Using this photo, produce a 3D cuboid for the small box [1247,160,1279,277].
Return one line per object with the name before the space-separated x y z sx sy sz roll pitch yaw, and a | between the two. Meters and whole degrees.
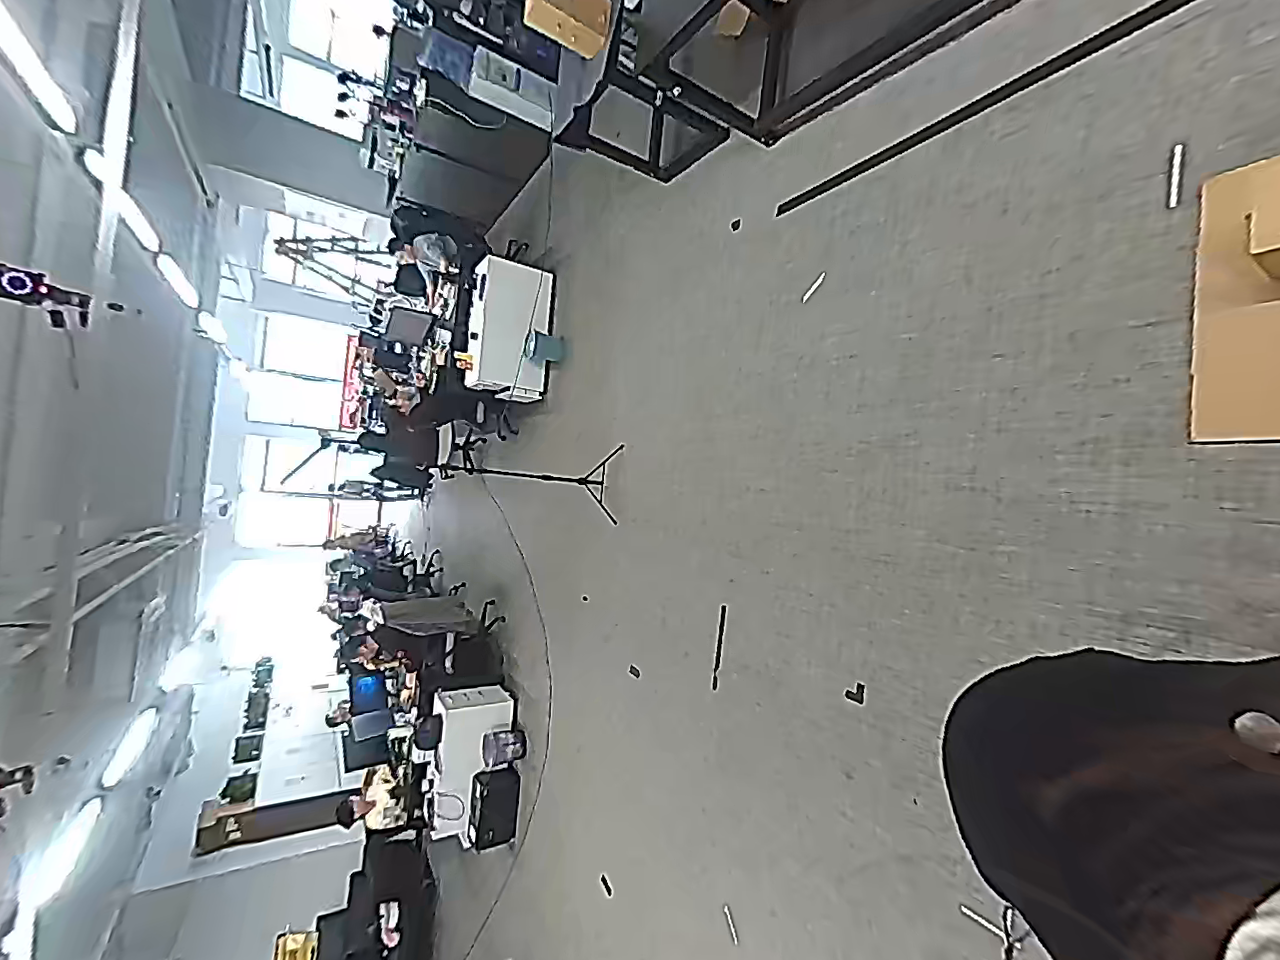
small box | 1.302 -0.515 1.029 0.168 0.176 0.179 1 86 59
